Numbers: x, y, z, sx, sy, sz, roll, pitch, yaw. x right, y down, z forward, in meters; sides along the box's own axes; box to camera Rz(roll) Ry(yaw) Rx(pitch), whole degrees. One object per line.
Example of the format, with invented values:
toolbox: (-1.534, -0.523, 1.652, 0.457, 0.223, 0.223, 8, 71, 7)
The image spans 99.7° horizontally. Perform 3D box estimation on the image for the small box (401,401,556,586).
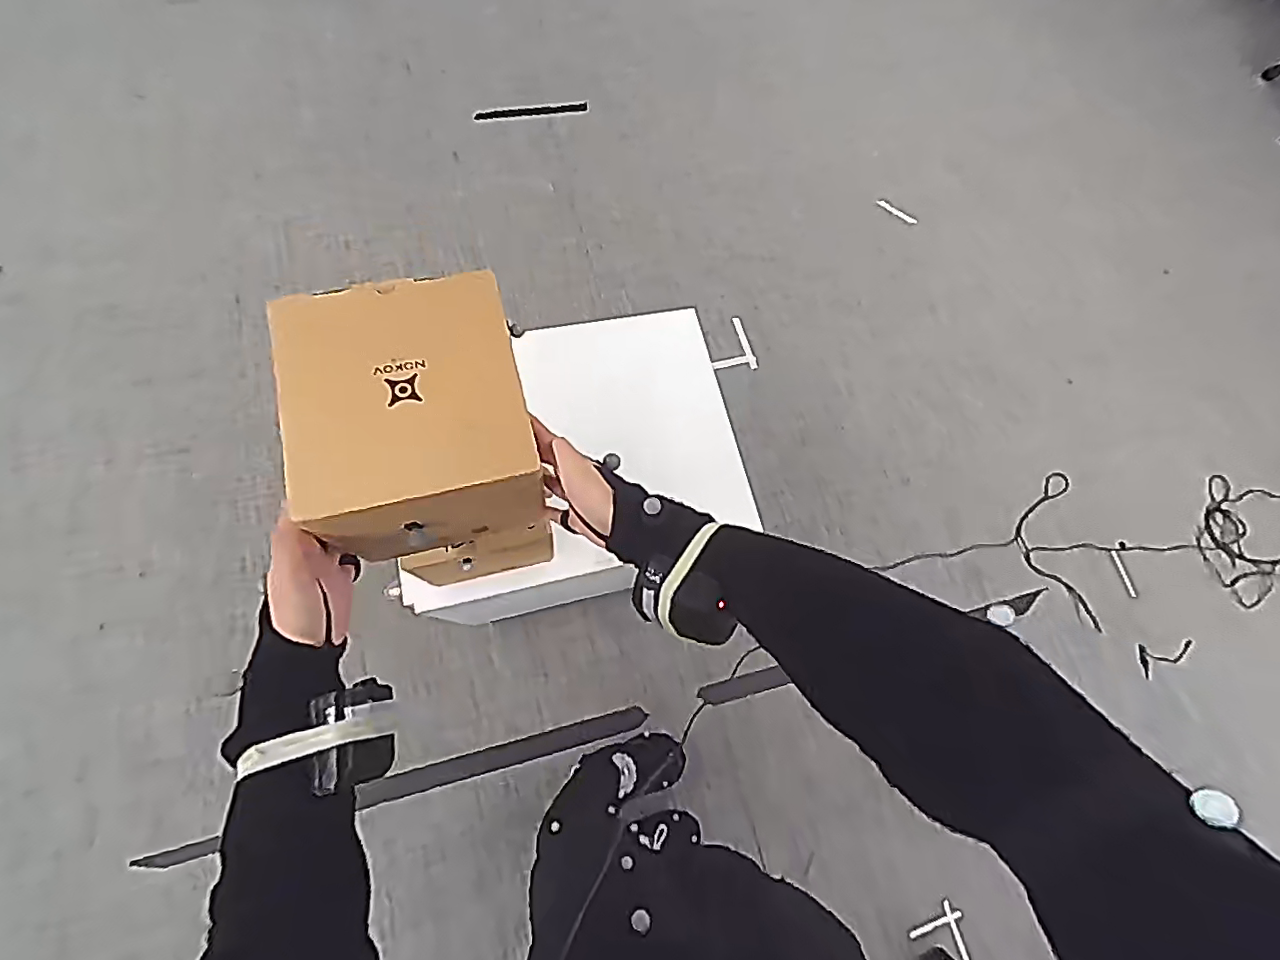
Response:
small box: (-0.205, 0.024, 0.685, 0.168, 0.176, 0.179, -12, 74, -12)

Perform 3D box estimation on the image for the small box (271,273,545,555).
small box: (-0.180, -0.042, 0.463, 0.168, 0.176, 0.179, -13, 74, -13)
